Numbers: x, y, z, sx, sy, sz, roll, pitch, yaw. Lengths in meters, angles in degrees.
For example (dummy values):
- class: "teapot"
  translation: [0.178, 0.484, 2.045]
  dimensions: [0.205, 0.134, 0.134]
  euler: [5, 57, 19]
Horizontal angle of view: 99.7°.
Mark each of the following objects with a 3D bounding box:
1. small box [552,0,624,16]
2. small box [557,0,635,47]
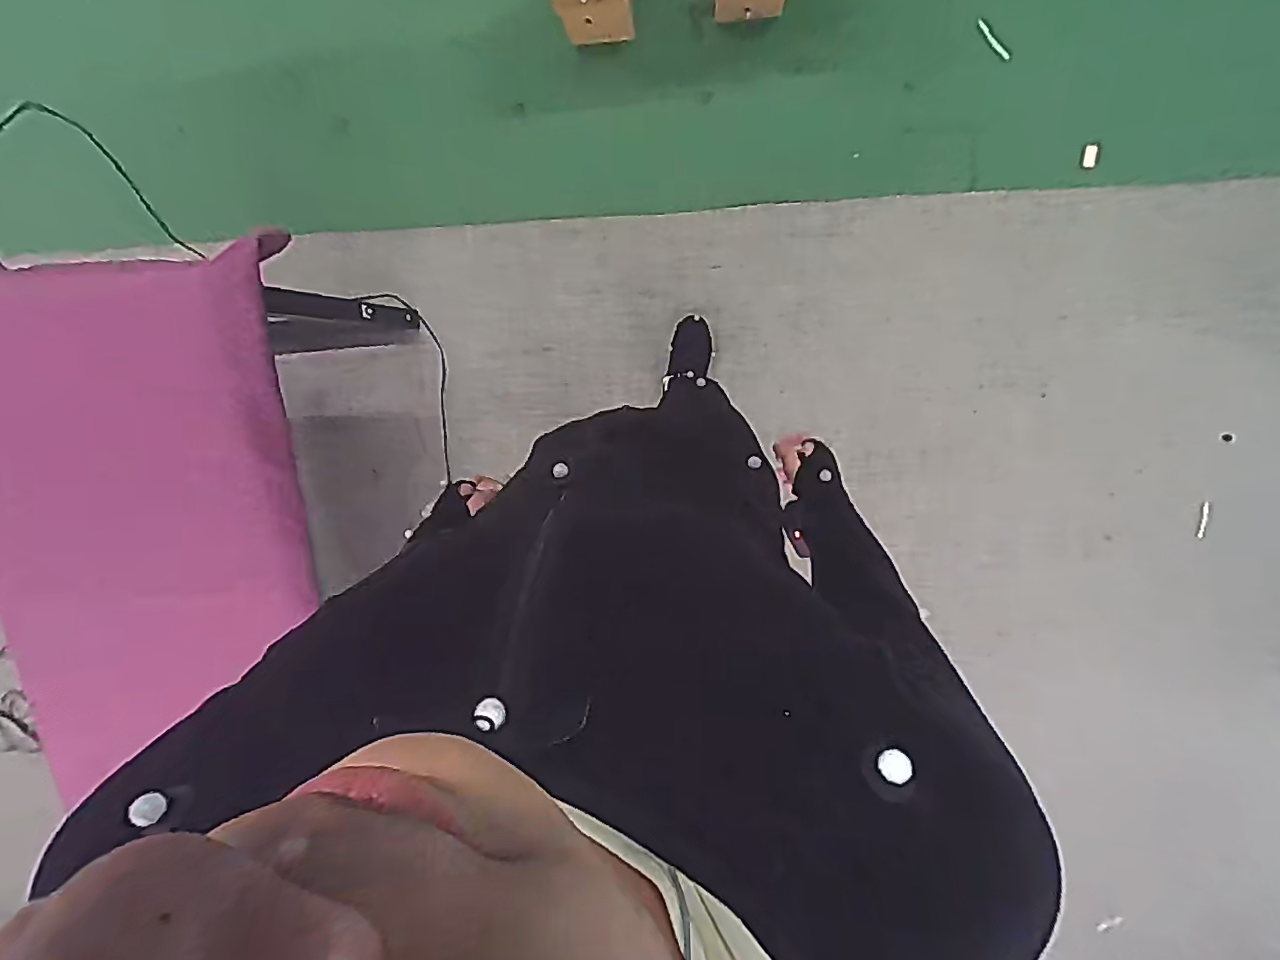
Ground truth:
- class: "small box"
  translation: [-0.128, -1.139, 1.142]
  dimensions: [0.168, 0.176, 0.179]
  euler: [-3, 102, 7]
- class: "small box"
  translation: [-0.104, -1.180, 1.299]
  dimensions: [0.168, 0.176, 0.179]
  euler: [0, 101, 6]
